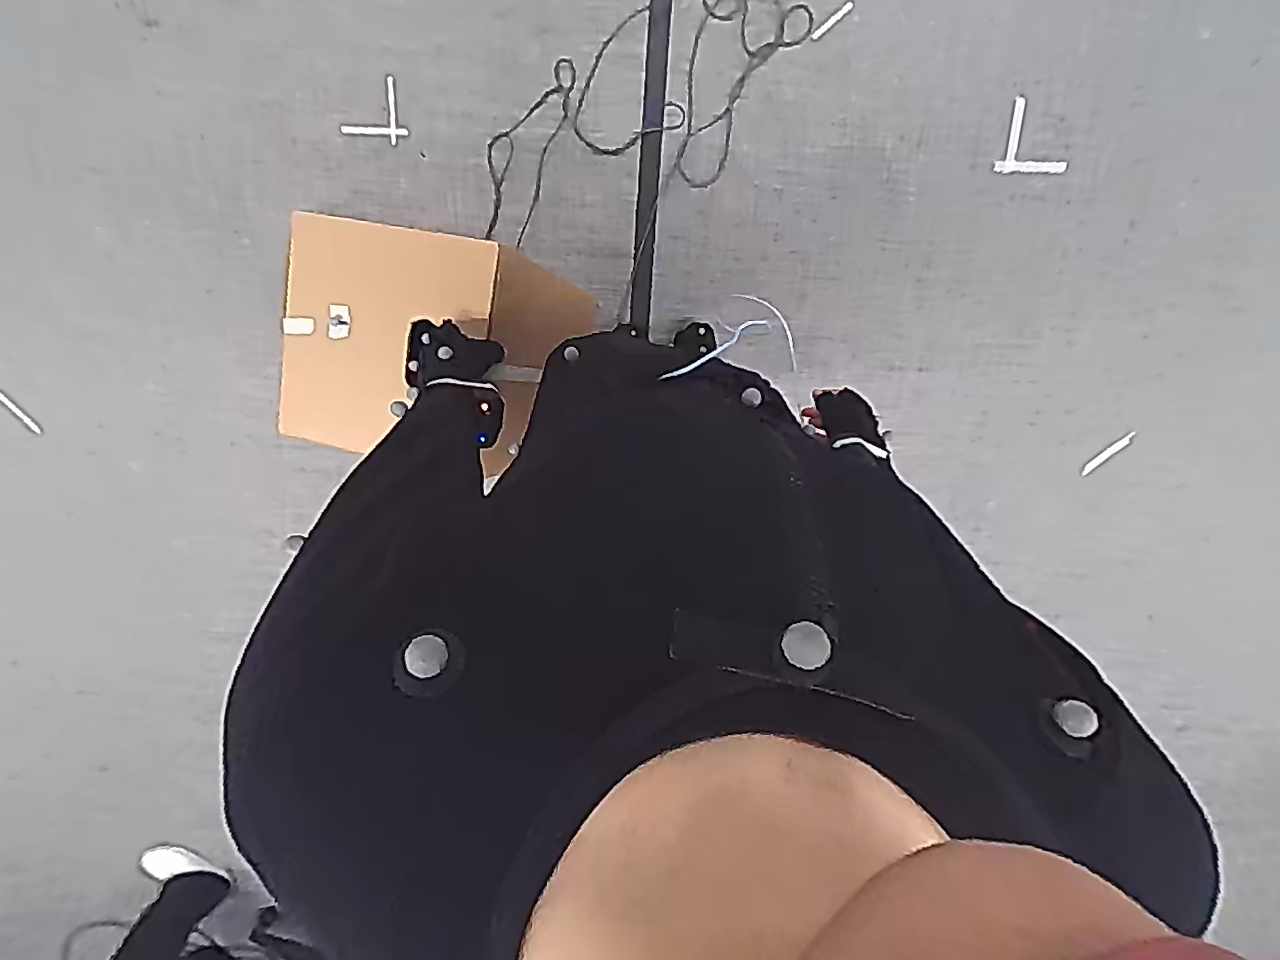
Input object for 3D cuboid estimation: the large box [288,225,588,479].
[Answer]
[{"bbox_3d":[-0.316,-0.213,0.933,0.320,0.408,0.320,14,102,10],"label":"large box"}]
